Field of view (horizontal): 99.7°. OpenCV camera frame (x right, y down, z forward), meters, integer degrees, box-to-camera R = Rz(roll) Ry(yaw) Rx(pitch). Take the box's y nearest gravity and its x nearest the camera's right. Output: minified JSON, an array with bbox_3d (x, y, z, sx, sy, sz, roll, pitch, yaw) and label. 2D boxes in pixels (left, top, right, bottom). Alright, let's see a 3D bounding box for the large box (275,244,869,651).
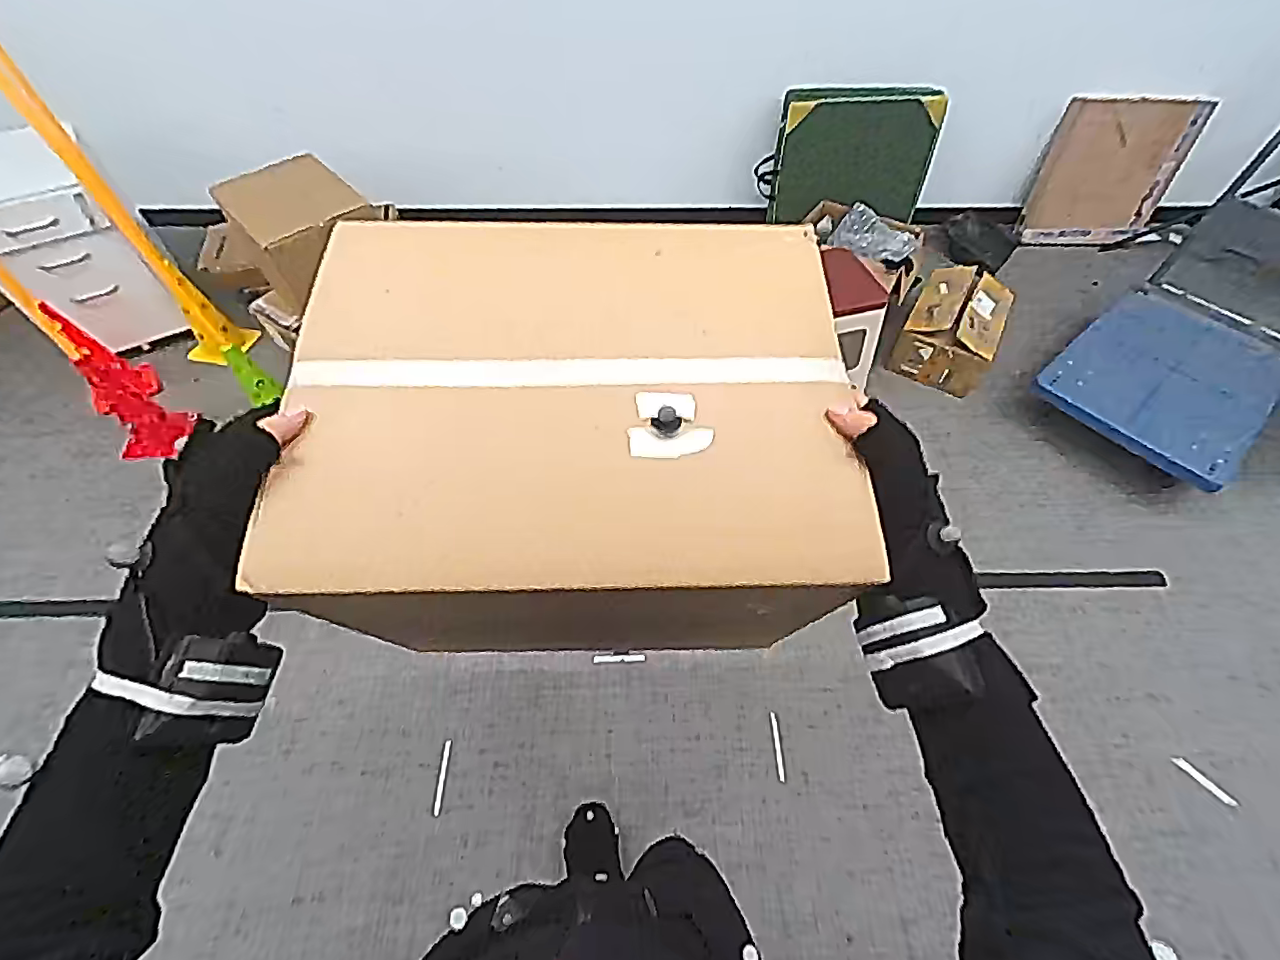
[{"bbox_3d":[-0.051,-0.010,0.555,0.408,0.320,0.320,0,65,-2],"label":"large box"}]
